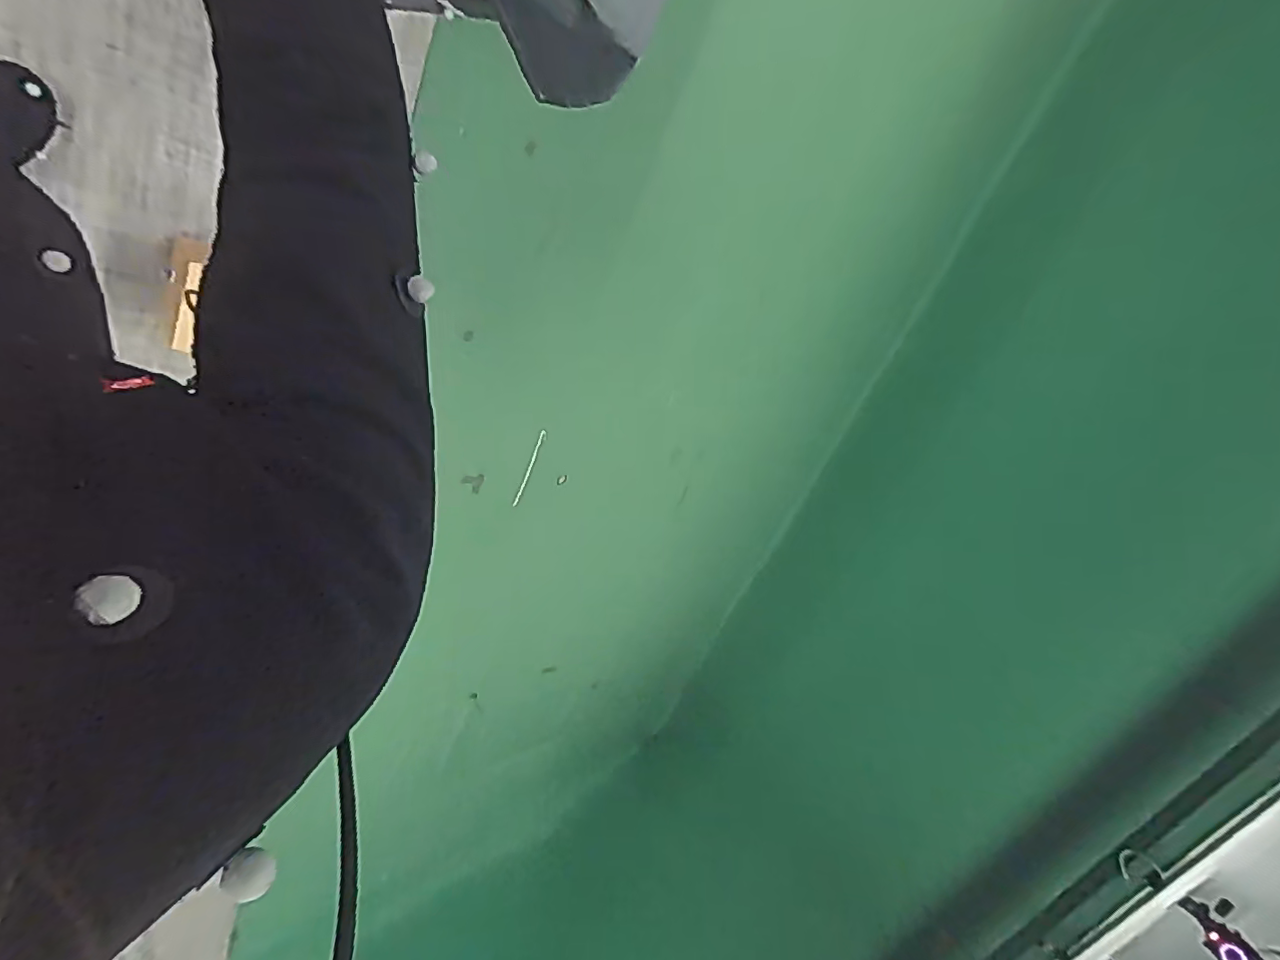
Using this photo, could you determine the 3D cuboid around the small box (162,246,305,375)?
[{"bbox_3d":[-0.786,-0.327,1.045,0.179,0.176,0.168,6,116,-50],"label":"small box"}]
